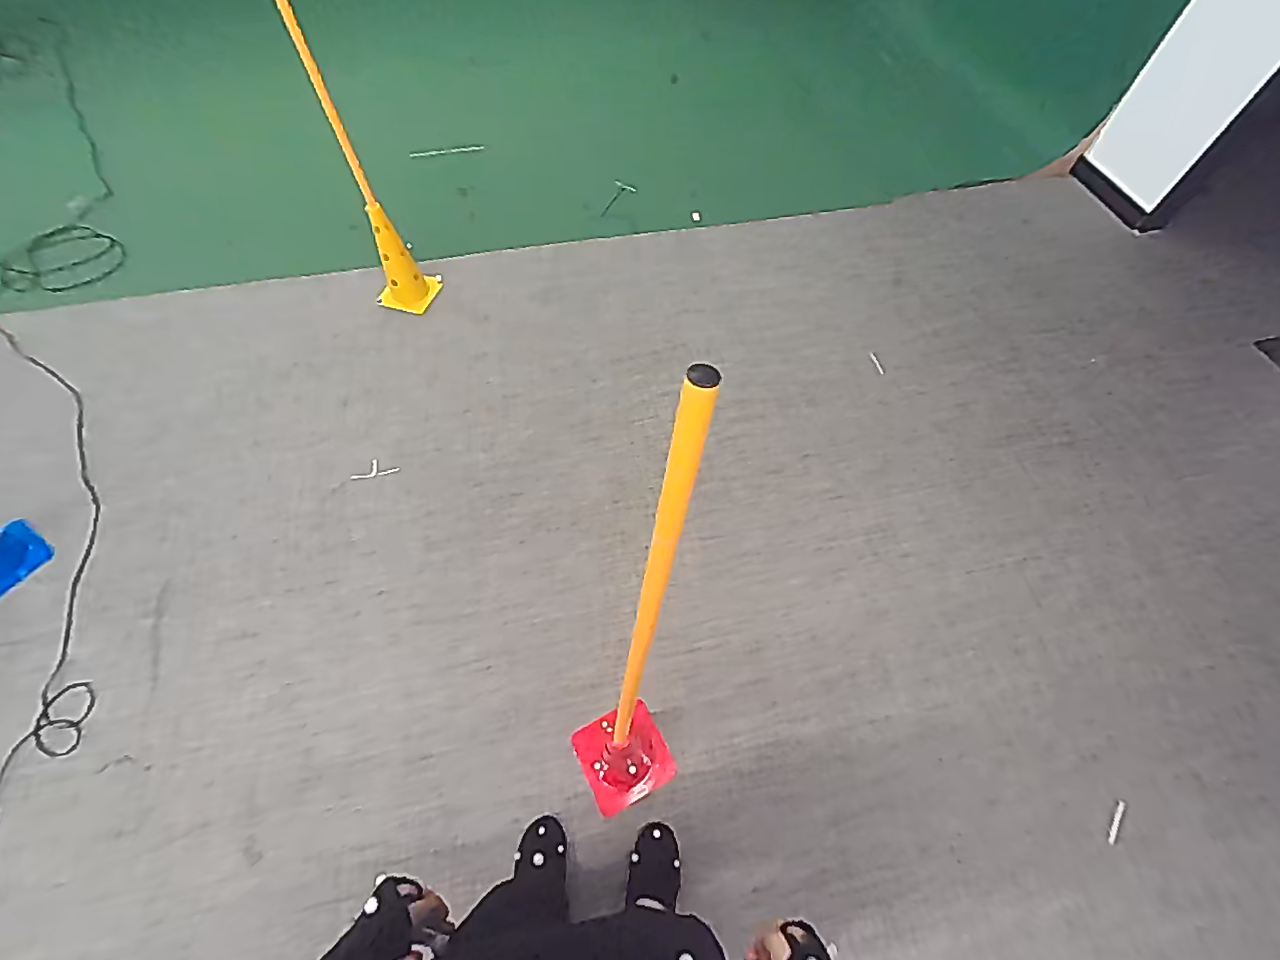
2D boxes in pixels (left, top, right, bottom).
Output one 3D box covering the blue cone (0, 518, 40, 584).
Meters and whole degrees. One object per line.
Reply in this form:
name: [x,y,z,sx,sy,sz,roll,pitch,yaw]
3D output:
blue cone: [-1.793,0.138,1.356,0.192,0.380,0.193,30,66,14]
